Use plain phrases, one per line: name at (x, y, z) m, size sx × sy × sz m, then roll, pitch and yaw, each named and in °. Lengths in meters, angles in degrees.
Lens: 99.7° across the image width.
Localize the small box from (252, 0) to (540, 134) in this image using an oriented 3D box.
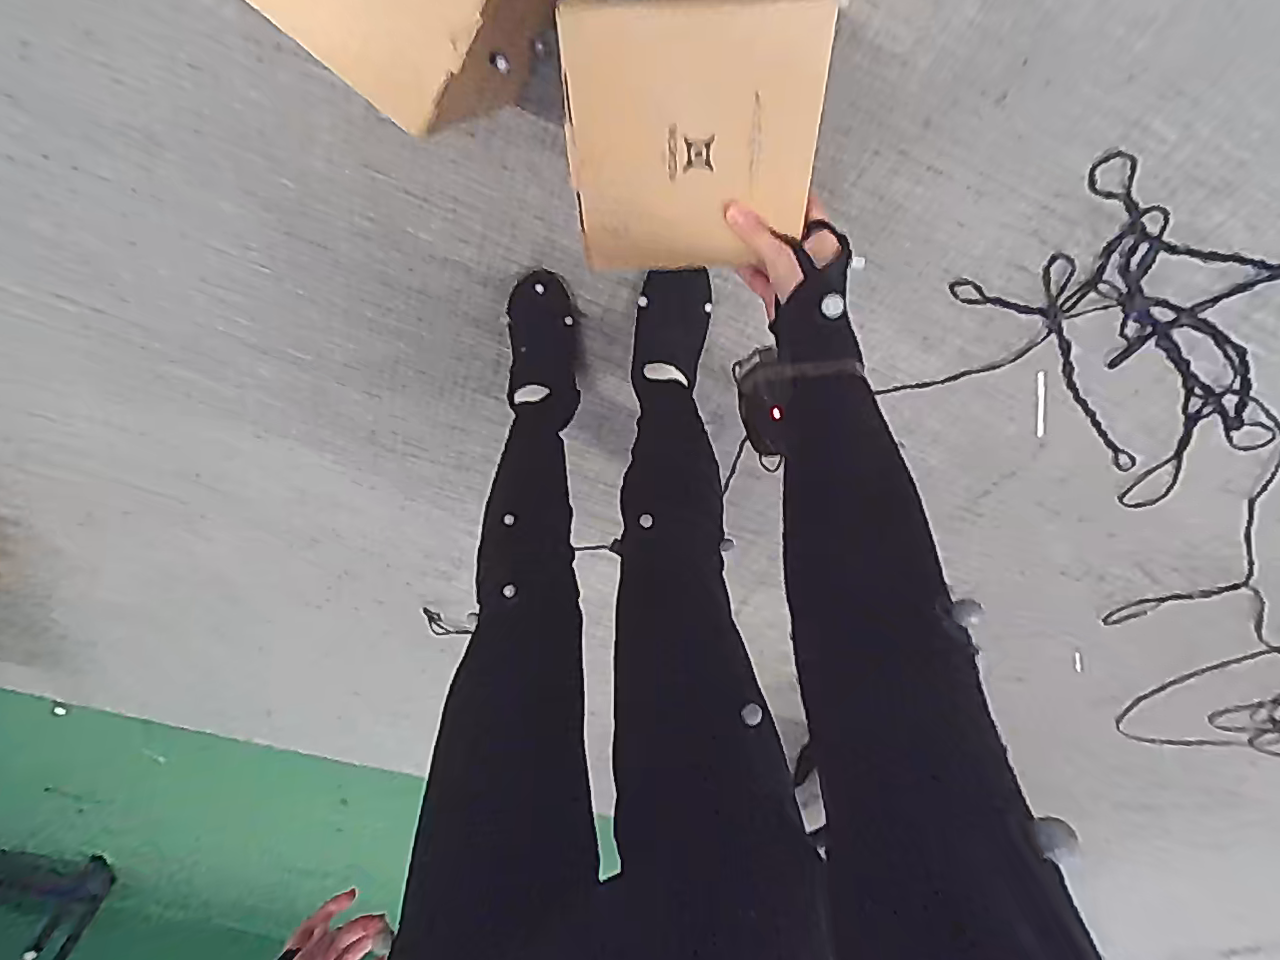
small box at (-0.196, -0.429, 0.445) m, size 0.179 × 0.176 × 0.168 m, roll 33°, pitch 124°, yaw -22°

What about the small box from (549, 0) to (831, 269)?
small box at (0.035, -0.288, 0.442) m, size 0.179 × 0.176 × 0.168 m, roll -1°, pitch 135°, yaw 2°
